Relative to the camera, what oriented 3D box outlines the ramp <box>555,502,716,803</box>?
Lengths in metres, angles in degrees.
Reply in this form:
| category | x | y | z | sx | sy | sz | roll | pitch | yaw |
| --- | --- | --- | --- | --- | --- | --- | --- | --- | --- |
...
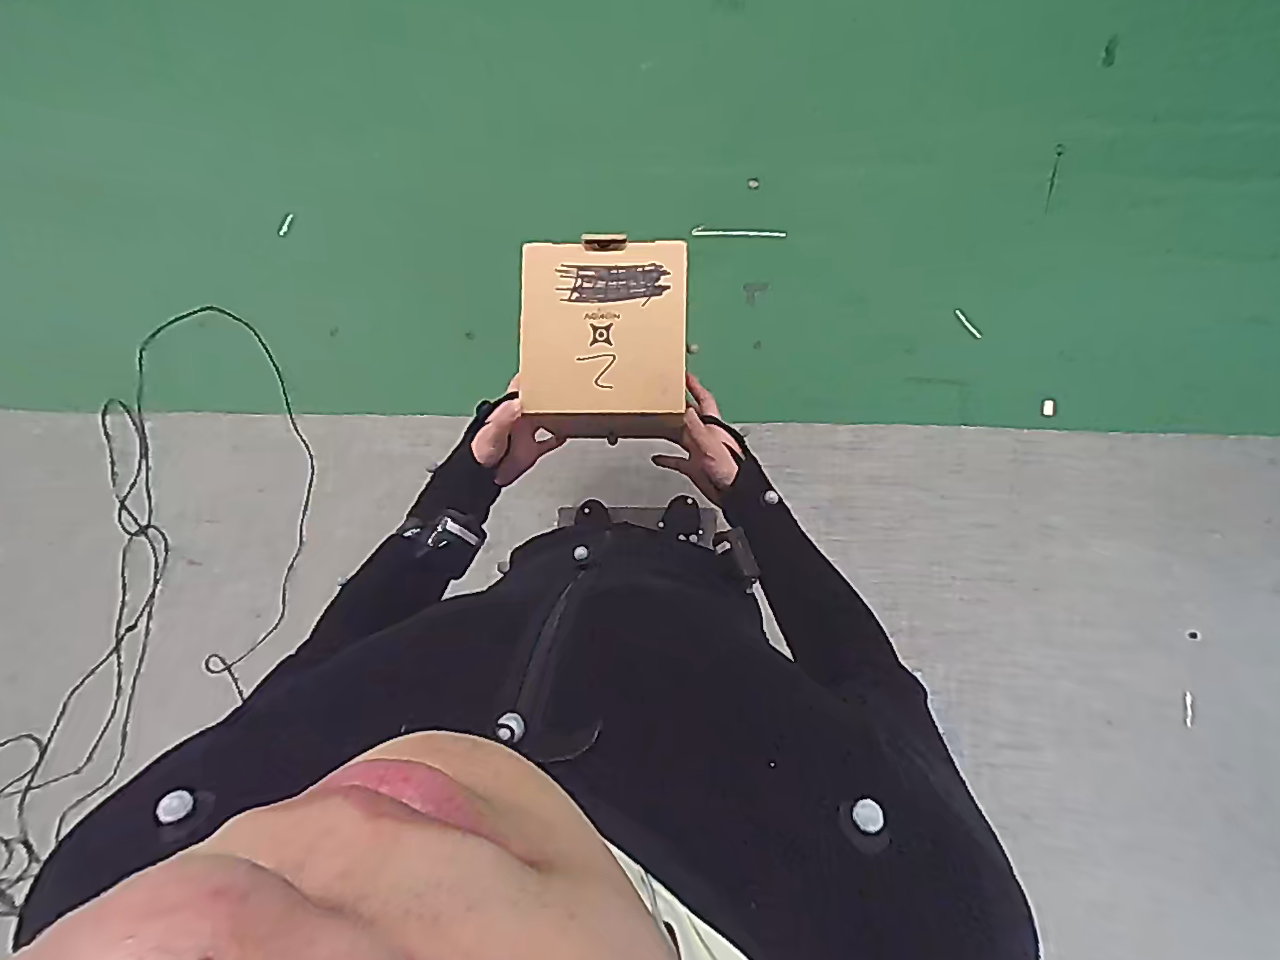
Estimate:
| category | x | y | z | sx | sy | sz | roll | pitch | yaw |
| --- | --- | --- | --- | --- | --- | --- | --- | --- | --- |
| ramp | -0.011 | 0.562 | 1.704 | 0.509 | 0.206 | 0.991 | -1 | 88 | 2 |
